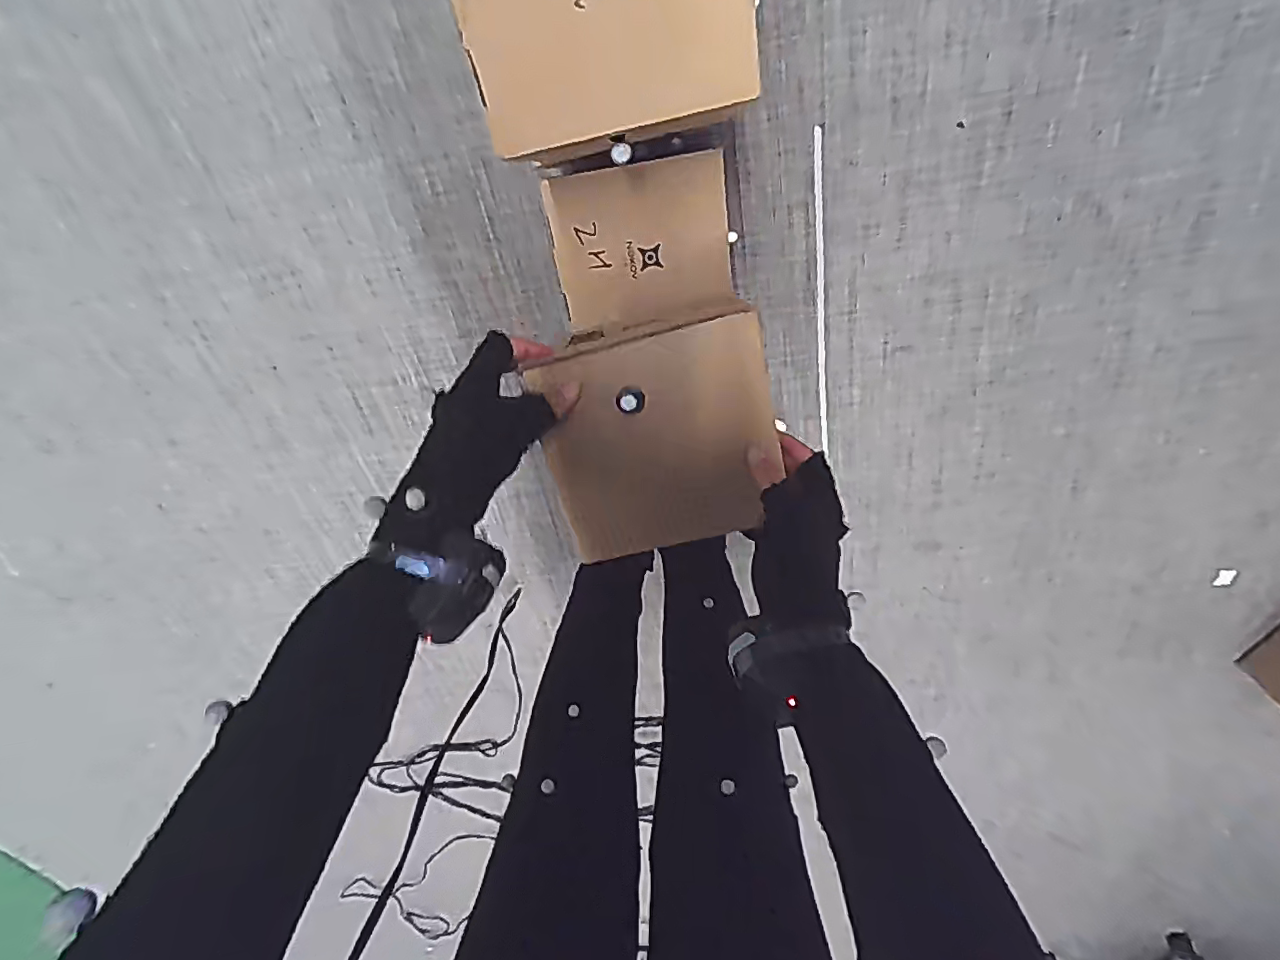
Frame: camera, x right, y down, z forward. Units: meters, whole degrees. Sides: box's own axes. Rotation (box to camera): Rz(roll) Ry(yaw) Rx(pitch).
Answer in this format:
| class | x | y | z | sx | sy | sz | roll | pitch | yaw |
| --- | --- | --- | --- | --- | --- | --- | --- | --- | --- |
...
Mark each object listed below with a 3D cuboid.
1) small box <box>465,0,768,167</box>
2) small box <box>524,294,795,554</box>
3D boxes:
| class | x | y | z | sx | sy | sz | roll | pitch | yaw |
| --- | --- | --- | --- | --- | --- | --- | --- | --- | --- |
| small box | -0.015 | -0.334 | 0.382 | 0.179 | 0.176 | 0.168 | -8 | 120 | 9 |
| small box | 0.024 | -0.052 | 0.479 | 0.179 | 0.168 | 0.176 | -13 | 112 | 8 |
